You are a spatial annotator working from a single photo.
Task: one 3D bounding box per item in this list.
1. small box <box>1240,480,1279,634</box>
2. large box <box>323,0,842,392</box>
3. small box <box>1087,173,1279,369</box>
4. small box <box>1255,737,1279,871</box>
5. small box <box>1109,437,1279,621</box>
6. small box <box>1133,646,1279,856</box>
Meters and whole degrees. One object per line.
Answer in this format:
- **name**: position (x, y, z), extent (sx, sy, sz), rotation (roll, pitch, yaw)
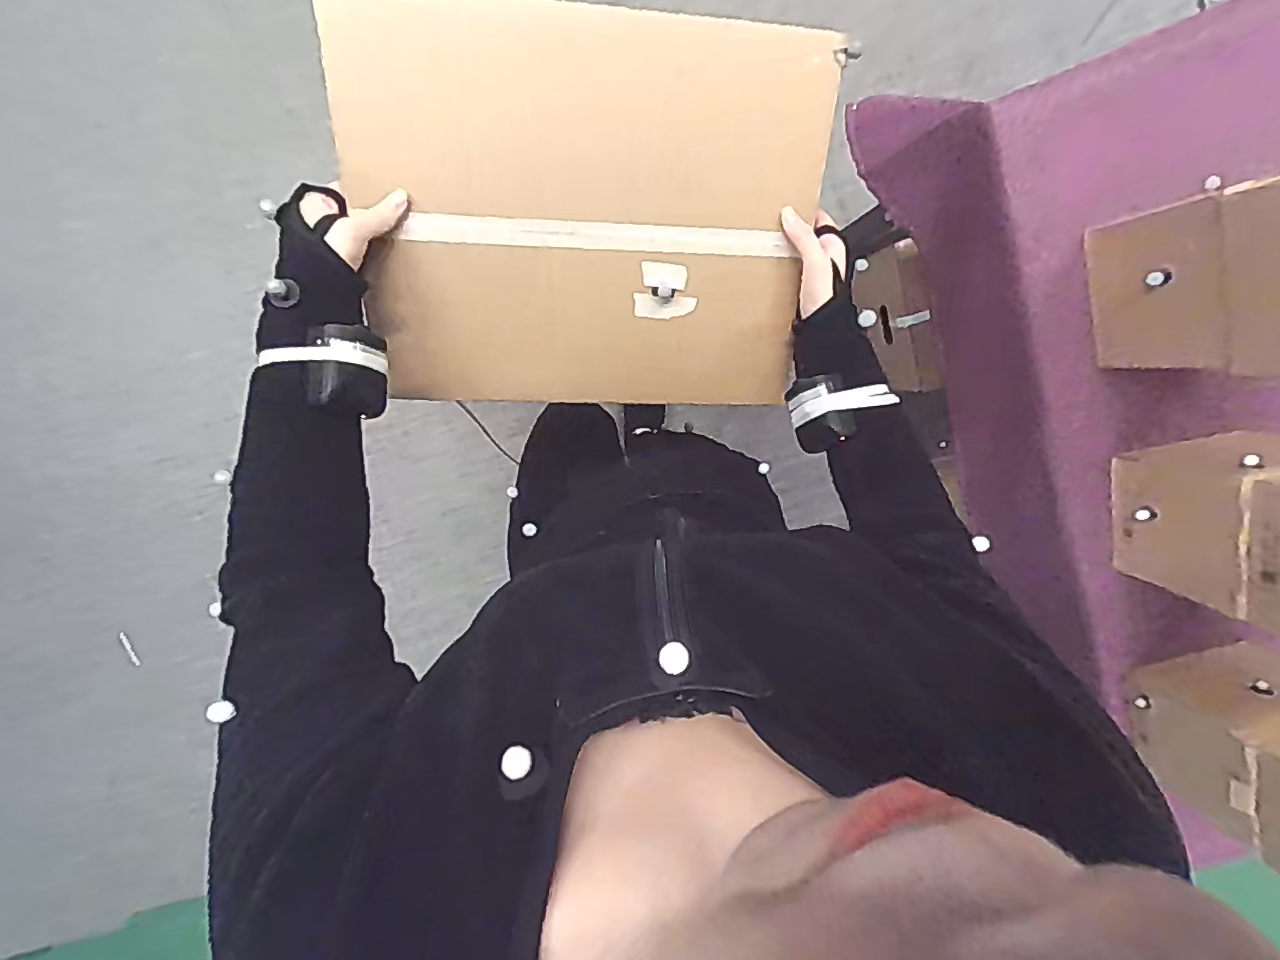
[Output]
- **small box**: position (0.745, 0.083, 0.507), extent (0.179, 0.176, 0.168), rotation (-10, 102, 3)
- **large box**: position (-0.058, -0.293, 0.608), extent (0.408, 0.320, 0.320), rotation (0, 118, -8)
- **small box**: position (0.649, -0.229, 0.606), extent (0.168, 0.176, 0.179), rotation (-16, 101, 4)
- **small box**: position (0.822, 0.390, 0.573), extent (0.168, 0.176, 0.179), rotation (-15, 101, 2)
- **small box**: position (0.738, 0.049, 0.668), extent (0.179, 0.176, 0.168), rotation (-11, 102, 3)
- **small box**: position (0.819, 0.353, 0.732), extent (0.179, 0.176, 0.168), rotation (-16, 102, 2)
